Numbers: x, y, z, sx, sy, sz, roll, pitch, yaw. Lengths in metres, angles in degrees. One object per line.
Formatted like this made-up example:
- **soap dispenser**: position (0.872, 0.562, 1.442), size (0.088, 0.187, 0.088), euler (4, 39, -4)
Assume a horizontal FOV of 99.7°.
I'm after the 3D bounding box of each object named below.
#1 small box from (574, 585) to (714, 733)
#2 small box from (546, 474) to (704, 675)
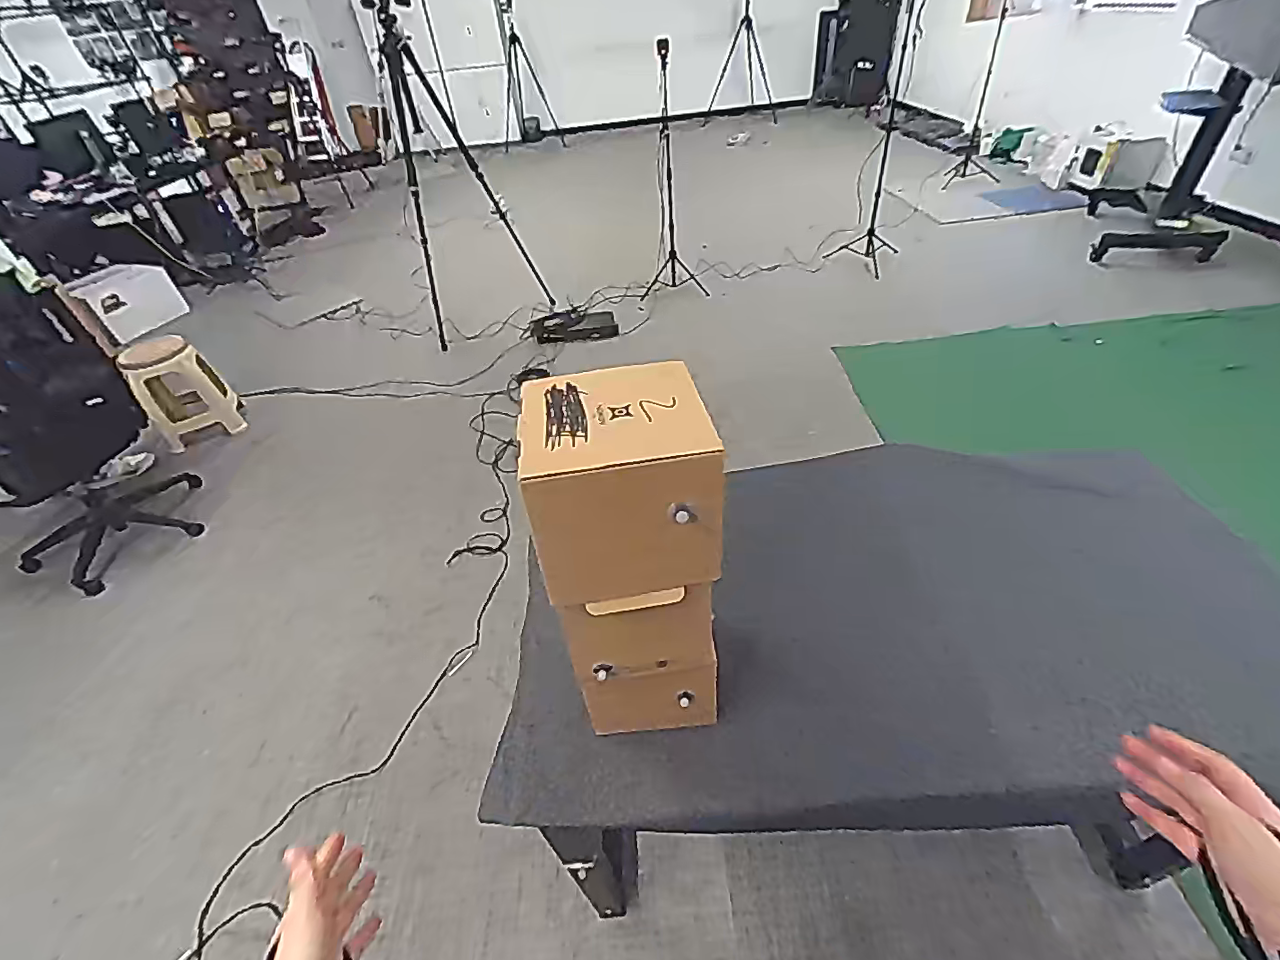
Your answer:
- **small box**: position (0.008, 0.241, 0.777), size (0.179, 0.176, 0.168), euler (-8, 40, 1)
- **small box**: position (-0.018, 0.120, 0.668), size (0.168, 0.176, 0.179), euler (-9, 39, -3)
